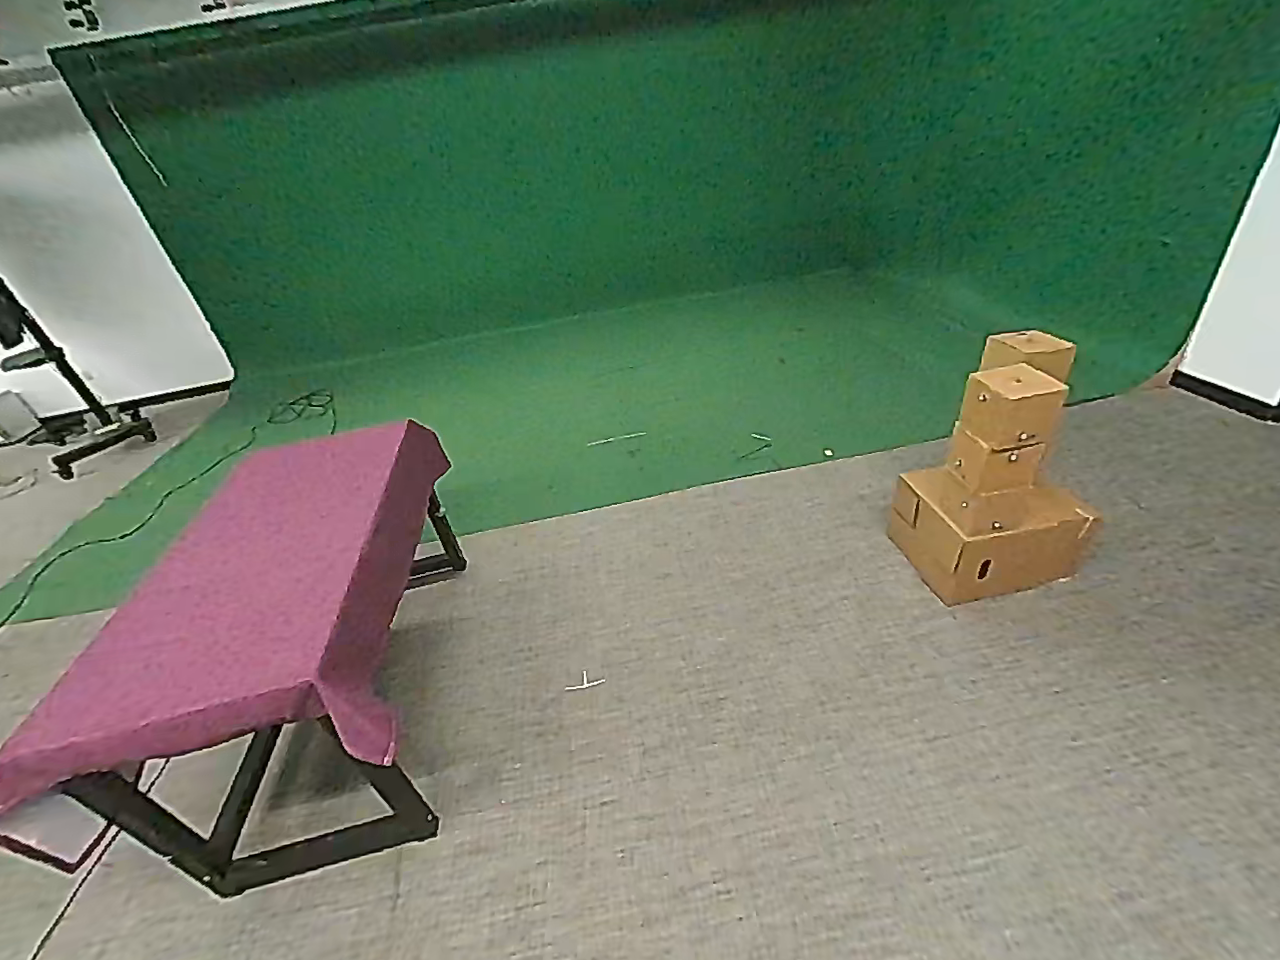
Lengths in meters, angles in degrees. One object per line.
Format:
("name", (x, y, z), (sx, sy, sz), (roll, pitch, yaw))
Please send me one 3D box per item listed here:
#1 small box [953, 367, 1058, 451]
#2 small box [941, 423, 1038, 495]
("small box", (1.038, -0.204, 1.556), (0.168, 0.176, 0.179), (-12, 35, -2))
("small box", (1.057, -0.075, 1.652), (0.179, 0.176, 0.168), (-9, 34, 1))
